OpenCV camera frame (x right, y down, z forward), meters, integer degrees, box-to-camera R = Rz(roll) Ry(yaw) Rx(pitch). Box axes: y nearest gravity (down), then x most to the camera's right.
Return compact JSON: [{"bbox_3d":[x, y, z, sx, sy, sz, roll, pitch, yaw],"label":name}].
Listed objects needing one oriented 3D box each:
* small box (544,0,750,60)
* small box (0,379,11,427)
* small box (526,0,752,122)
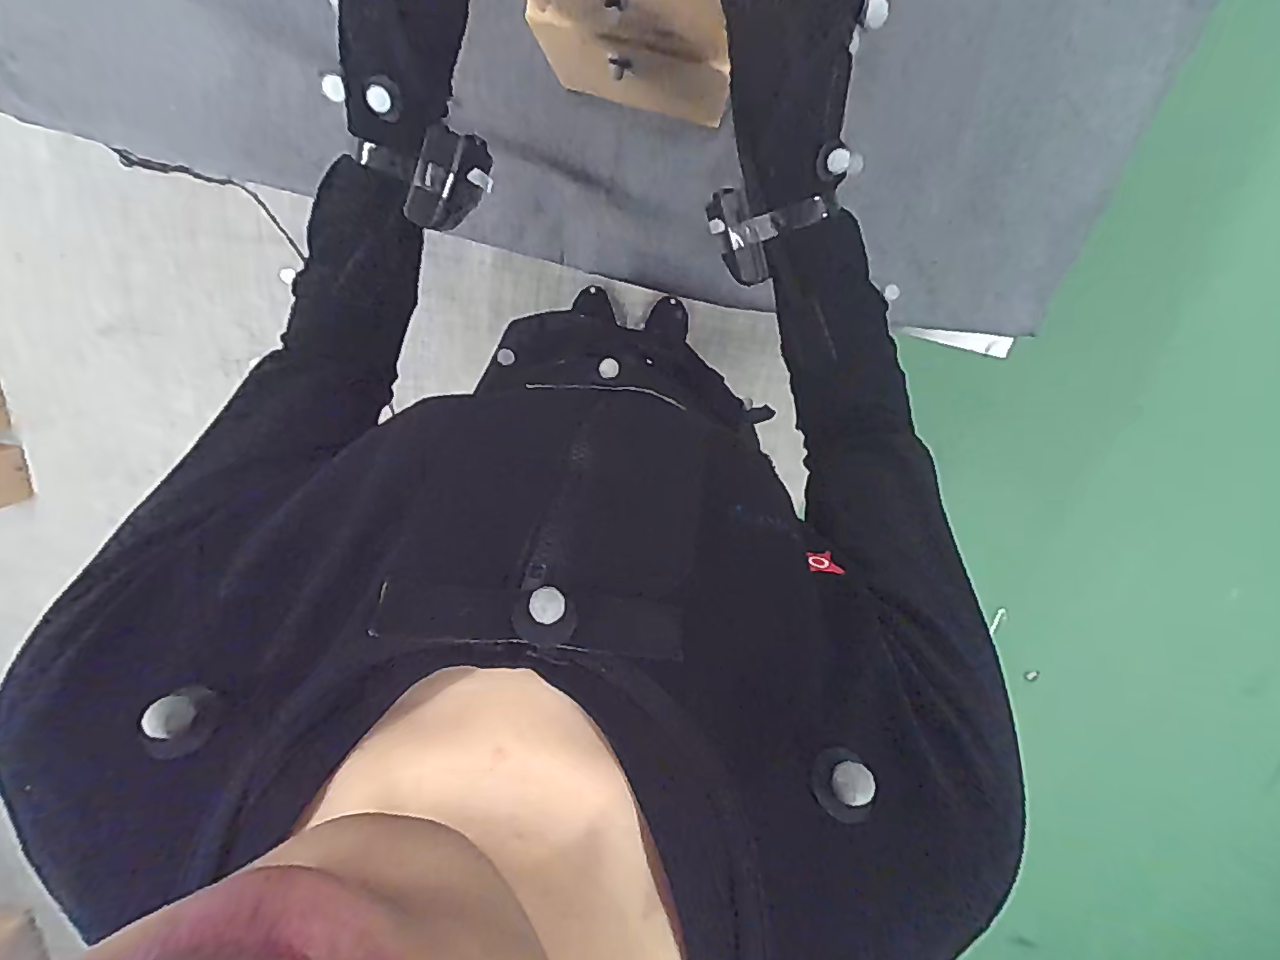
[{"bbox_3d":[0.010,-0.408,0.332,0.168,0.176,0.179,13,110,-1],"label":"small box"},{"bbox_3d":[-1.910,-0.217,1.475,0.179,0.176,0.168,10,111,0],"label":"small box"},{"bbox_3d":[0.014,-0.454,0.488,0.179,0.176,0.168,14,110,-2],"label":"small box"}]
